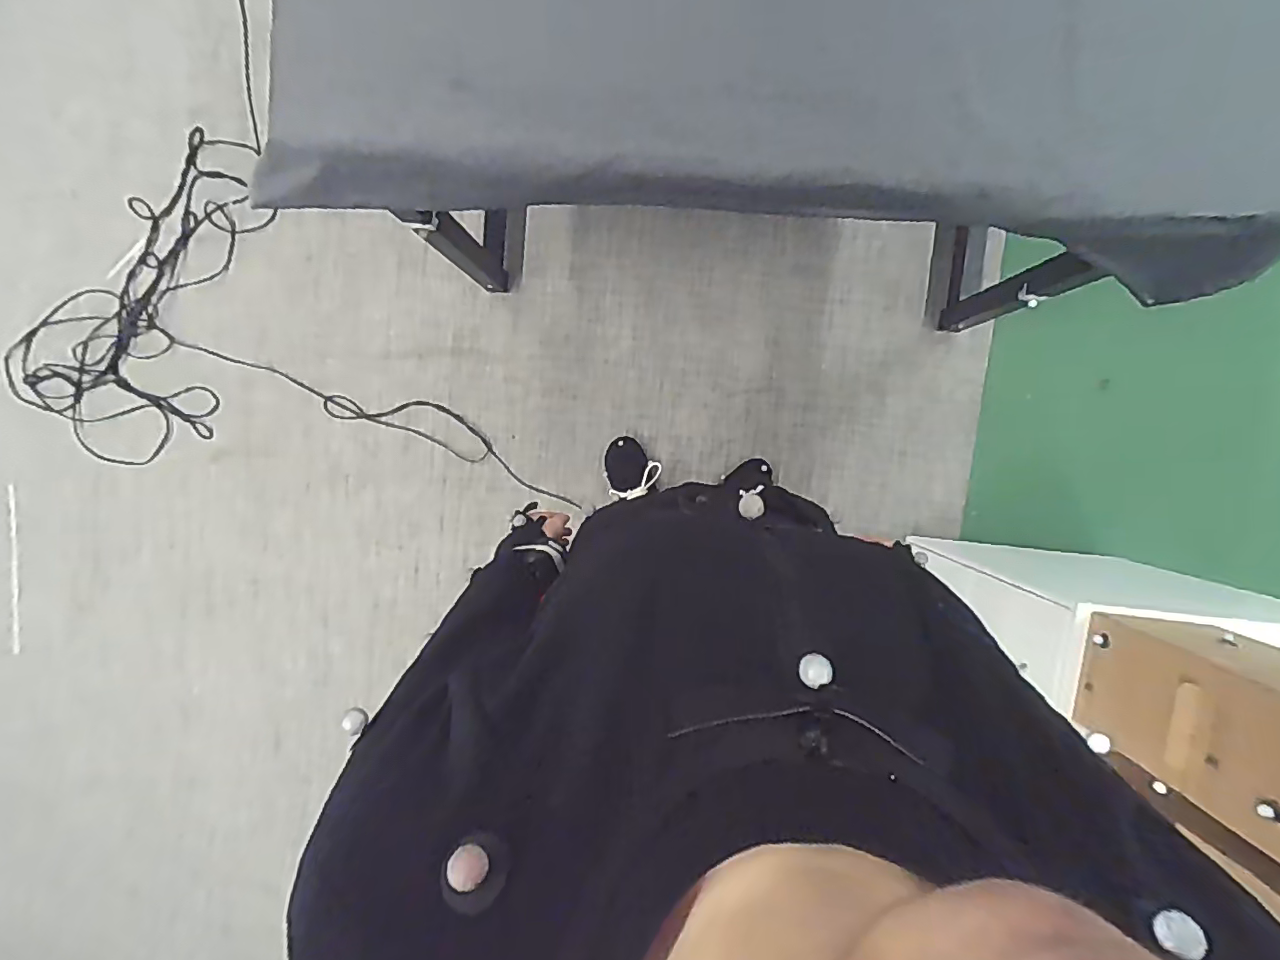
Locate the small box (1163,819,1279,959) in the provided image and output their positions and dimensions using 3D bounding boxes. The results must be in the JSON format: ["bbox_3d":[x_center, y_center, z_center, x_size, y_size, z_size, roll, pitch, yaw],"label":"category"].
[{"bbox_3d":[0.696,0.478,0.549,0.179,0.176,0.168,2,94,1],"label":"small box"}]
